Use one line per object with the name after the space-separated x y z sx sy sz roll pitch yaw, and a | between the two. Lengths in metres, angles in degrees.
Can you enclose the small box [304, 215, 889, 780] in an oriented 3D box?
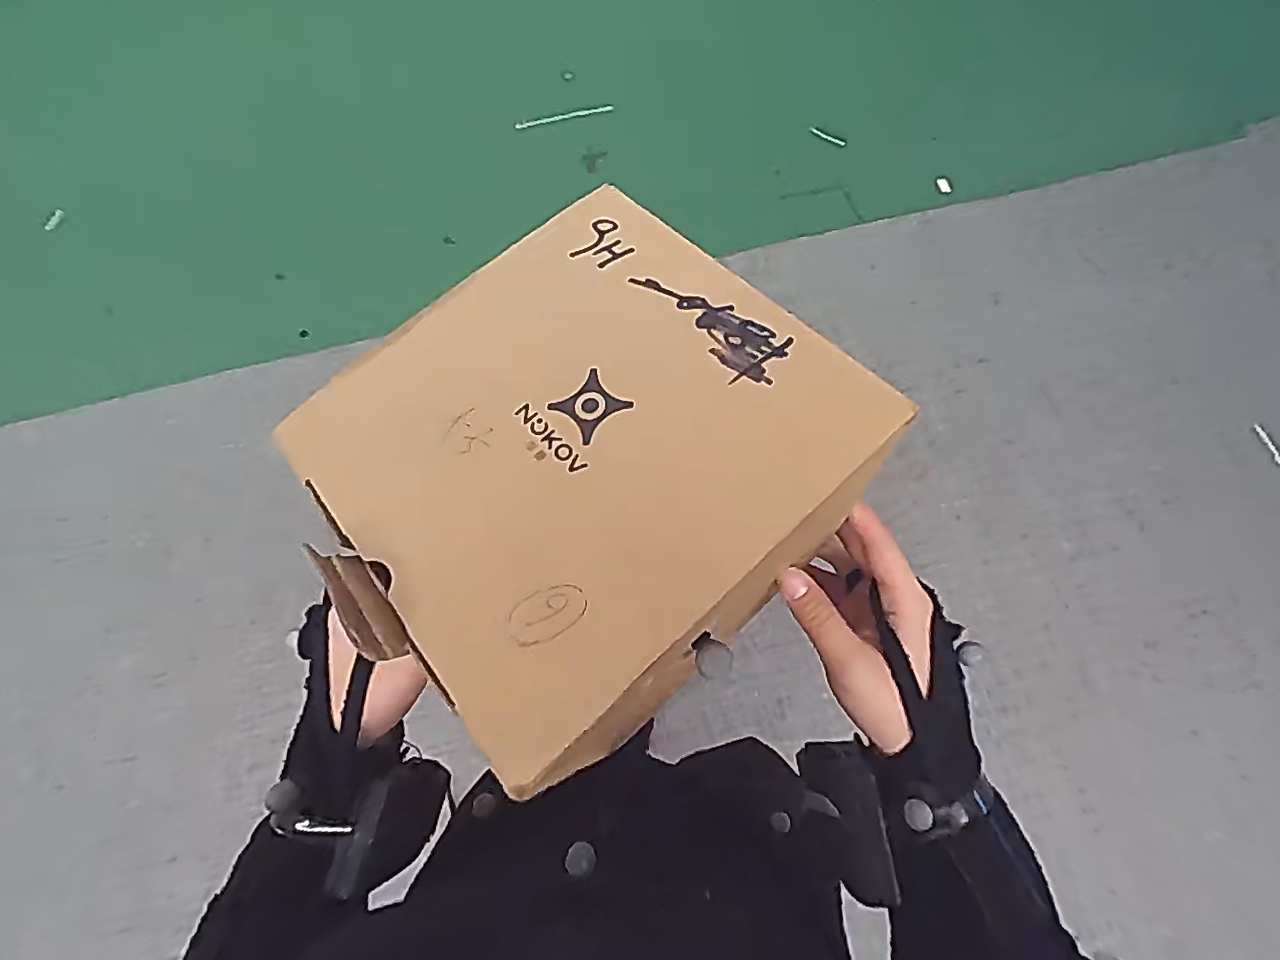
-0.014 0.016 0.280 0.179 0.176 0.168 -42 69 -10 | small box
